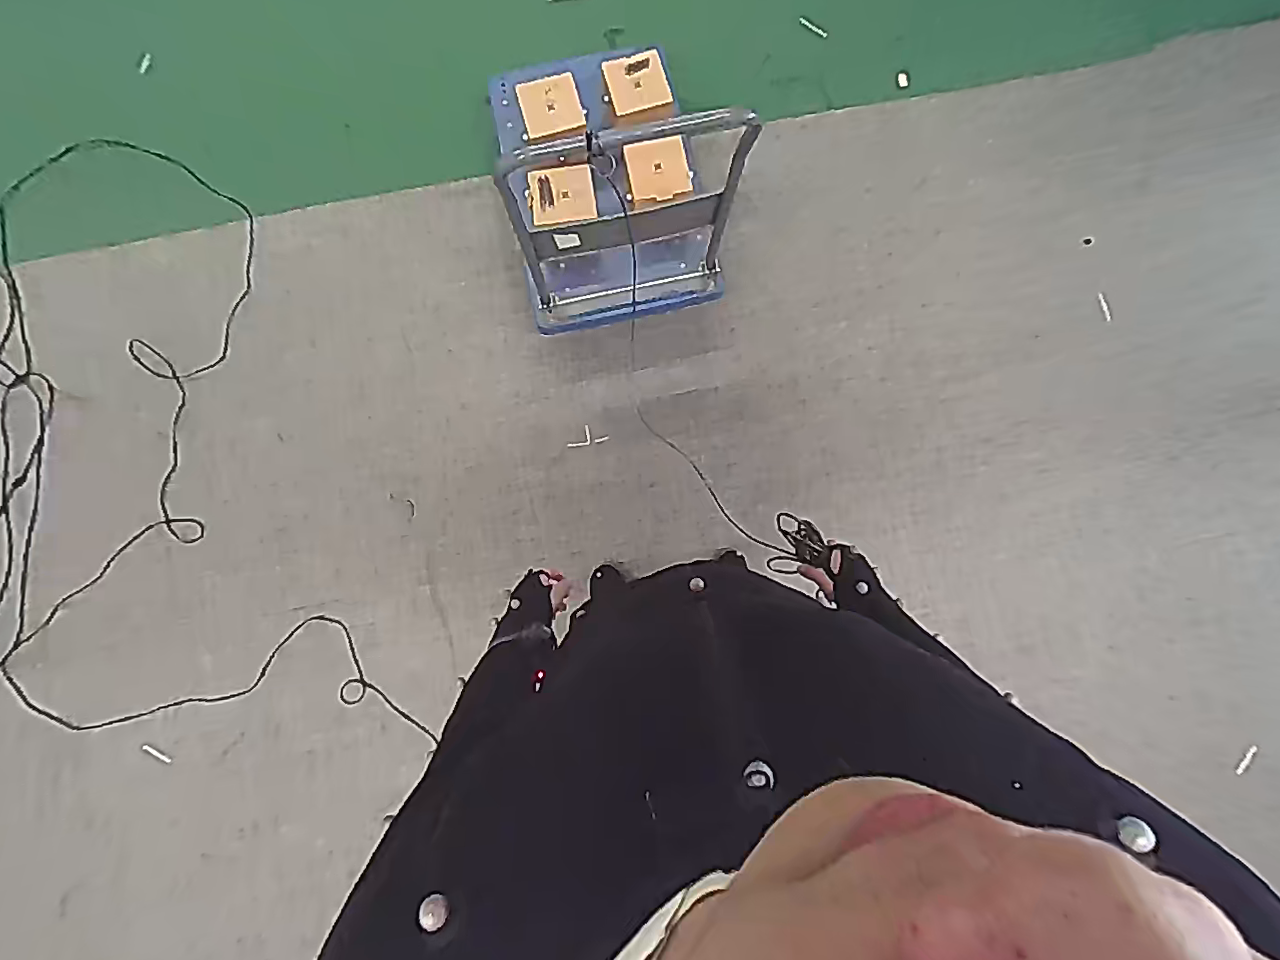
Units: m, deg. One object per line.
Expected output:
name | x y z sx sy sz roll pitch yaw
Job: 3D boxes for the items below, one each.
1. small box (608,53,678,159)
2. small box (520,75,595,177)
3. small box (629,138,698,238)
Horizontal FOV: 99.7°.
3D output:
small box | 0.008 -1.089 1.585 0.168 0.176 0.179 -16 83 -1
small box | -0.234 -1.020 1.579 0.168 0.176 0.179 -15 82 -2
small box | 0.063 -0.828 1.546 0.168 0.176 0.179 -11 82 -1
